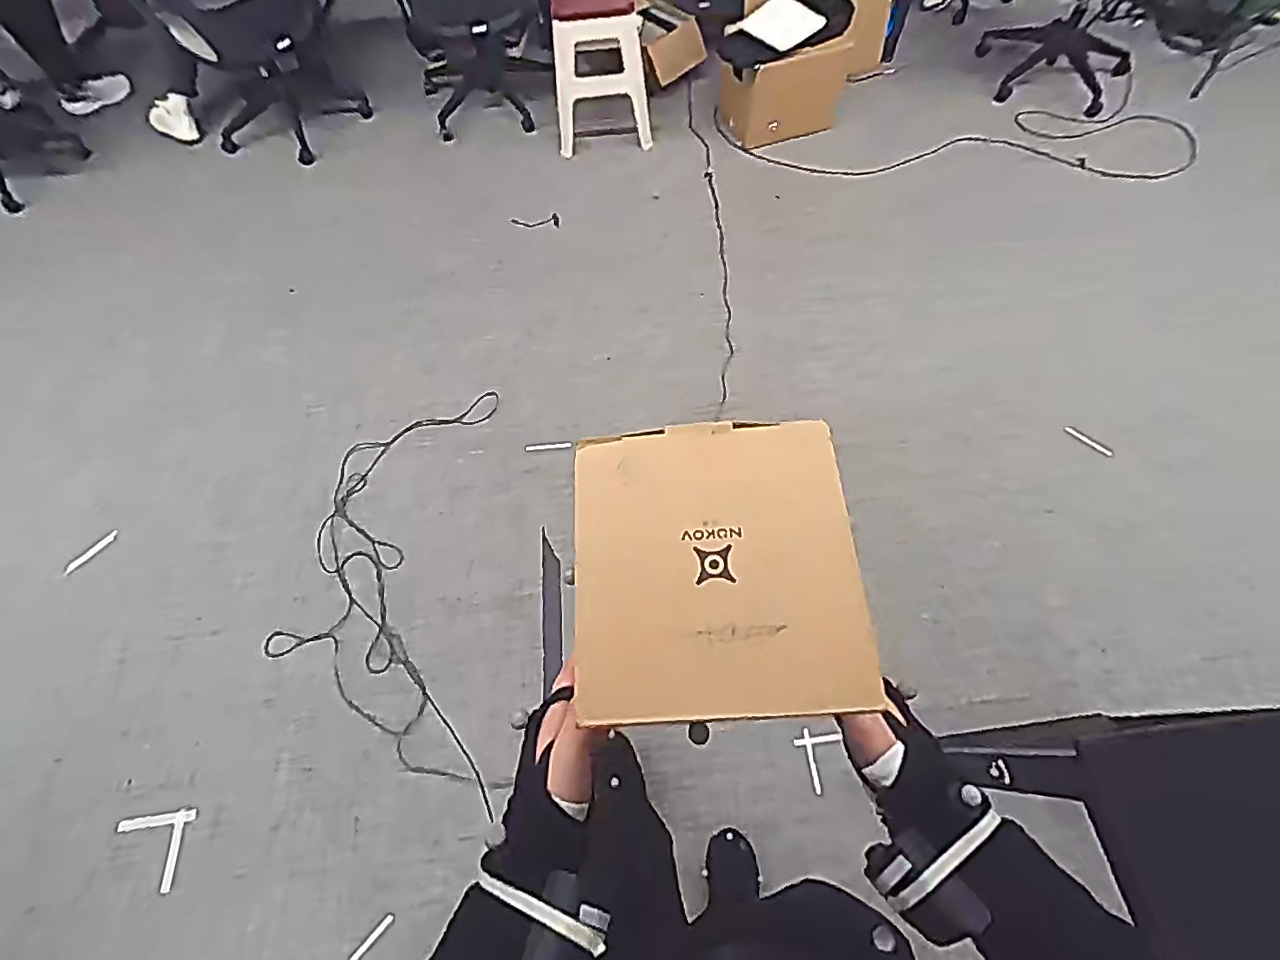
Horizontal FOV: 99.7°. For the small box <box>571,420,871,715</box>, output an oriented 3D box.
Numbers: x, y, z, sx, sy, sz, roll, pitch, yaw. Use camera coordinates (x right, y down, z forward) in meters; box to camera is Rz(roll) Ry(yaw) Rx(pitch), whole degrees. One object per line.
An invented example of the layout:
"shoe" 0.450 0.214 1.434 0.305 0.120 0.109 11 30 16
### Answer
"small box" 0.045 0.075 0.398 0.168 0.176 0.179 -4 67 2
